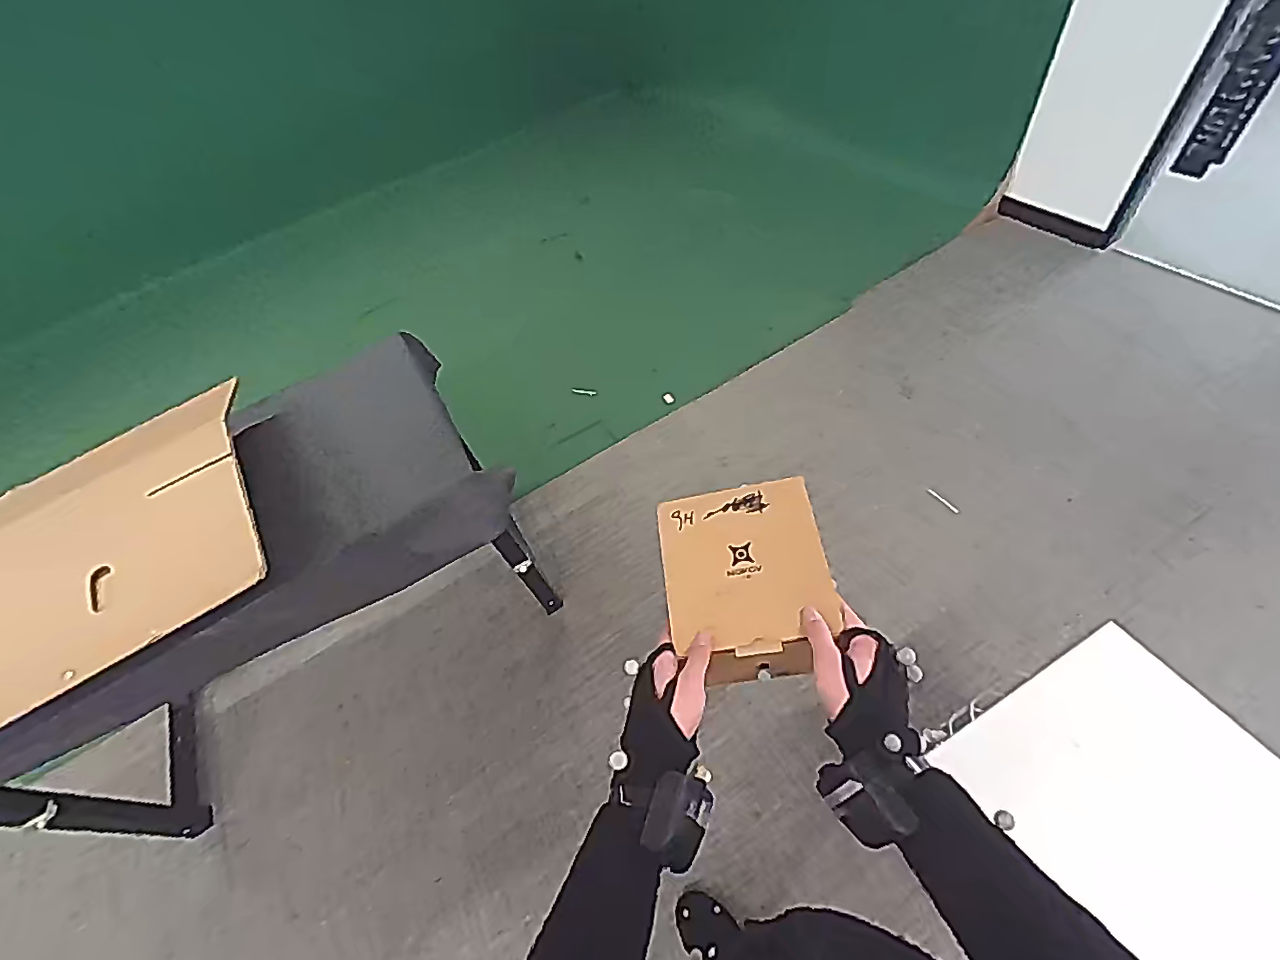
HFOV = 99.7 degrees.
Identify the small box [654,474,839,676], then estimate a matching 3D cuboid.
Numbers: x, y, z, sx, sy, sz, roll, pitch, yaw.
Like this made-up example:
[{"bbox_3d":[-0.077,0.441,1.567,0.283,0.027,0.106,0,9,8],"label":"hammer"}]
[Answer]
[{"bbox_3d":[0.123,0.122,0.634,0.168,0.176,0.179,-13,58,8],"label":"small box"}]
